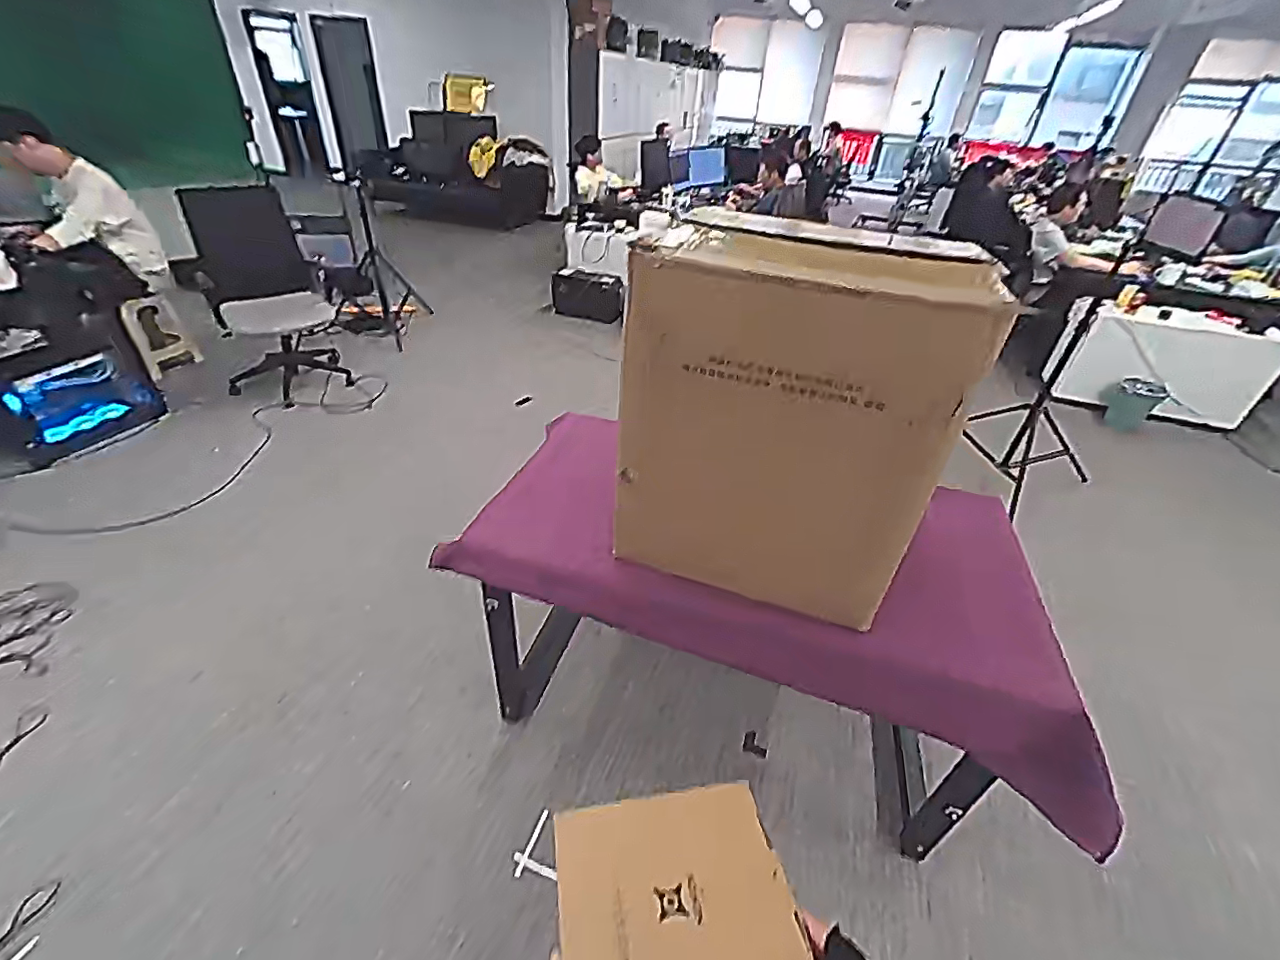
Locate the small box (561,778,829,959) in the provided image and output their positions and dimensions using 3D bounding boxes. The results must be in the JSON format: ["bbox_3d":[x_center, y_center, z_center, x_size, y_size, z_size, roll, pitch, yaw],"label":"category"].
[{"bbox_3d":[0.032,0.380,0.433,0.179,0.176,0.168,-5,25,-10],"label":"small box"}]
